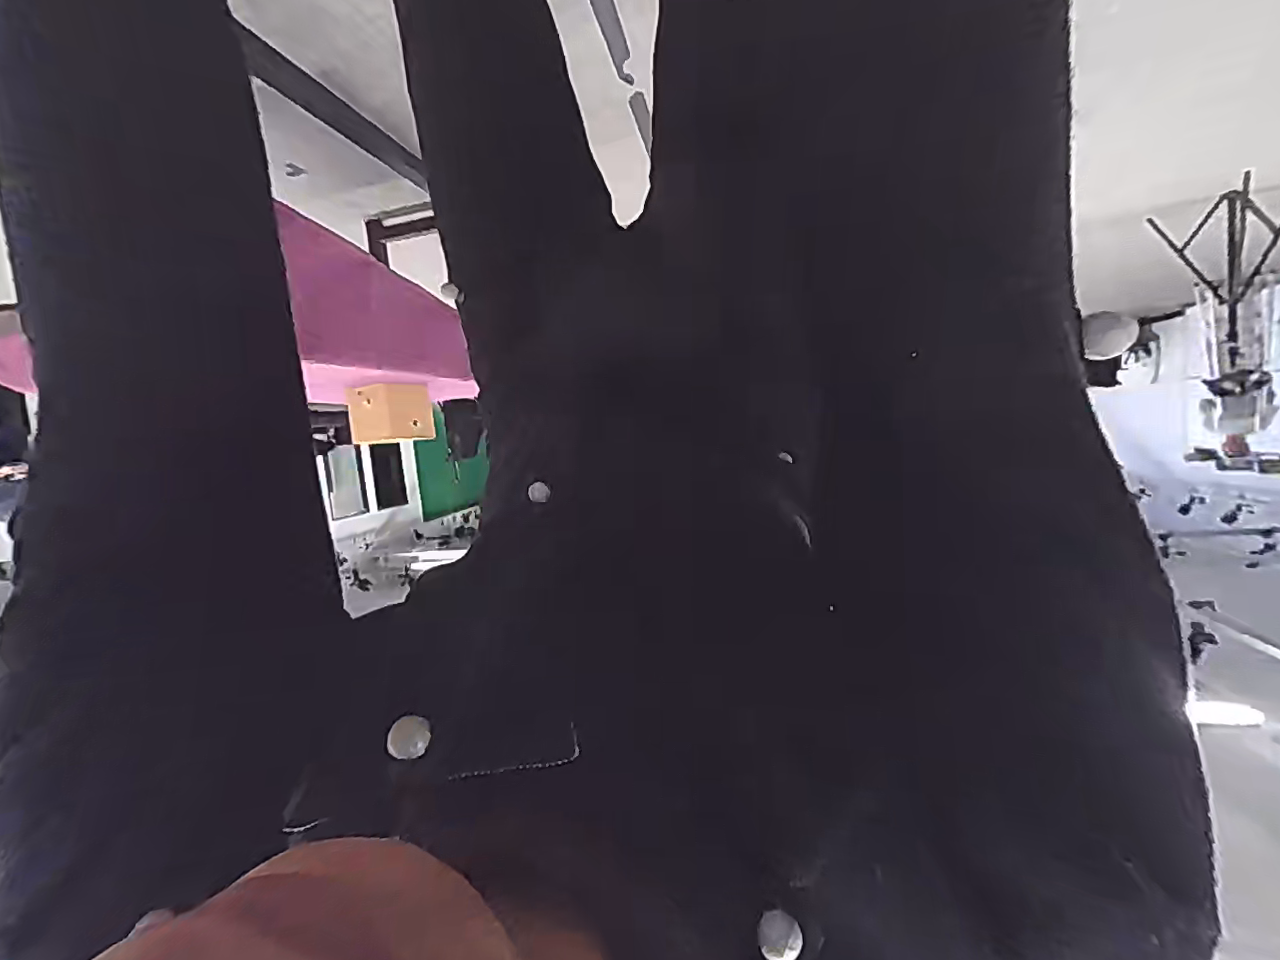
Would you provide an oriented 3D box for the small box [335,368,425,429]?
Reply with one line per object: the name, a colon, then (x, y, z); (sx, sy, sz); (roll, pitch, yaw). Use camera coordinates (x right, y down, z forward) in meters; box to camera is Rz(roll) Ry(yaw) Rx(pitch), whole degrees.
small box: (-0.790, -0.249, 1.647); (0.168, 0.176, 0.179); (-3, -173, 23)
